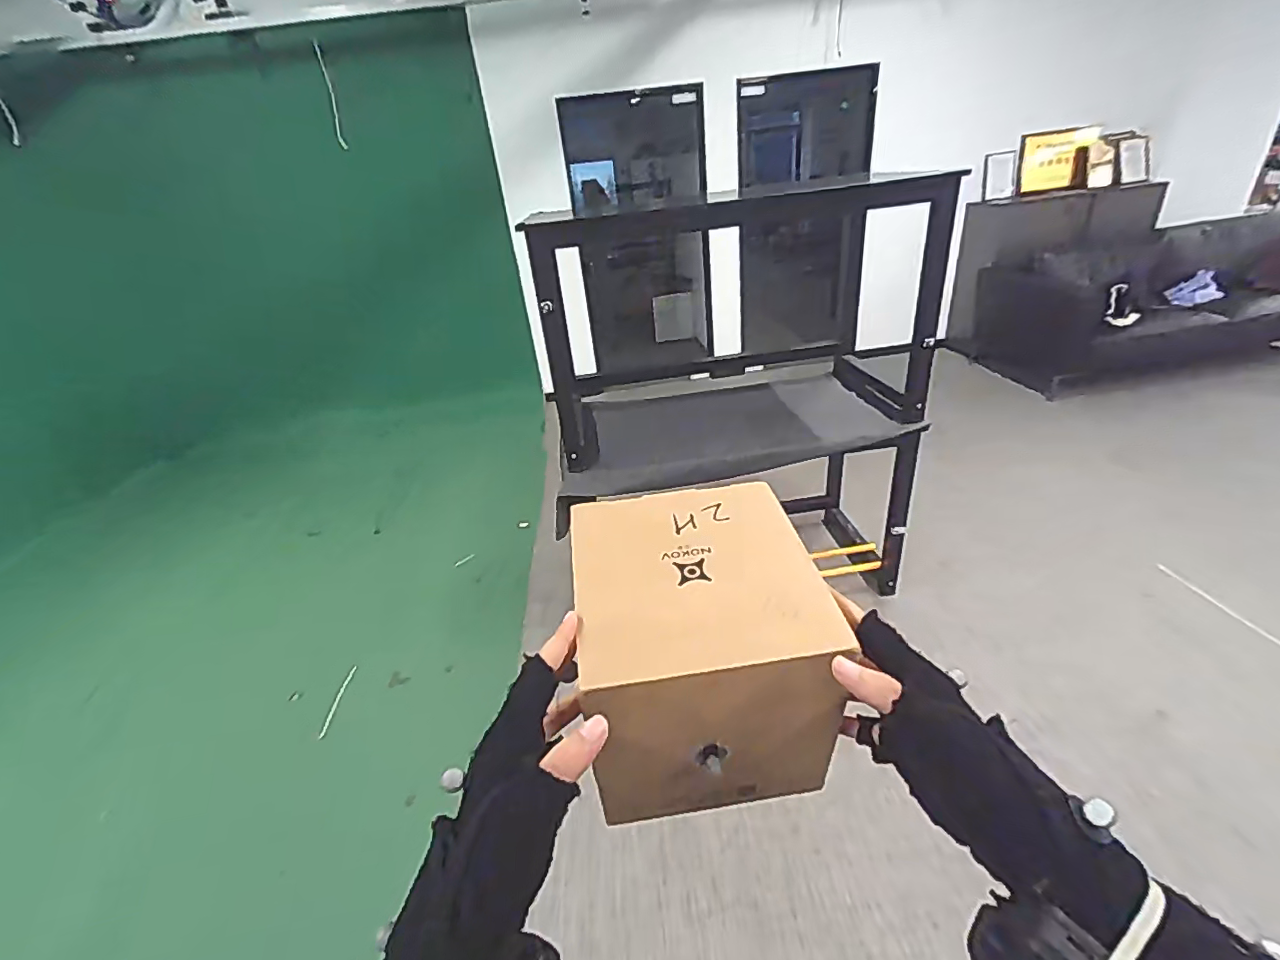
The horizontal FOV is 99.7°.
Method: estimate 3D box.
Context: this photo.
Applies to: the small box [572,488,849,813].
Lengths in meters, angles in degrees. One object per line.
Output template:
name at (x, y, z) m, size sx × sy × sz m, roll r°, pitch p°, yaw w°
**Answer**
small box at (0.040, 0.131, 0.422) m, size 0.168 × 0.176 × 0.179 m, roll -7°, pitch 34°, yaw -4°
